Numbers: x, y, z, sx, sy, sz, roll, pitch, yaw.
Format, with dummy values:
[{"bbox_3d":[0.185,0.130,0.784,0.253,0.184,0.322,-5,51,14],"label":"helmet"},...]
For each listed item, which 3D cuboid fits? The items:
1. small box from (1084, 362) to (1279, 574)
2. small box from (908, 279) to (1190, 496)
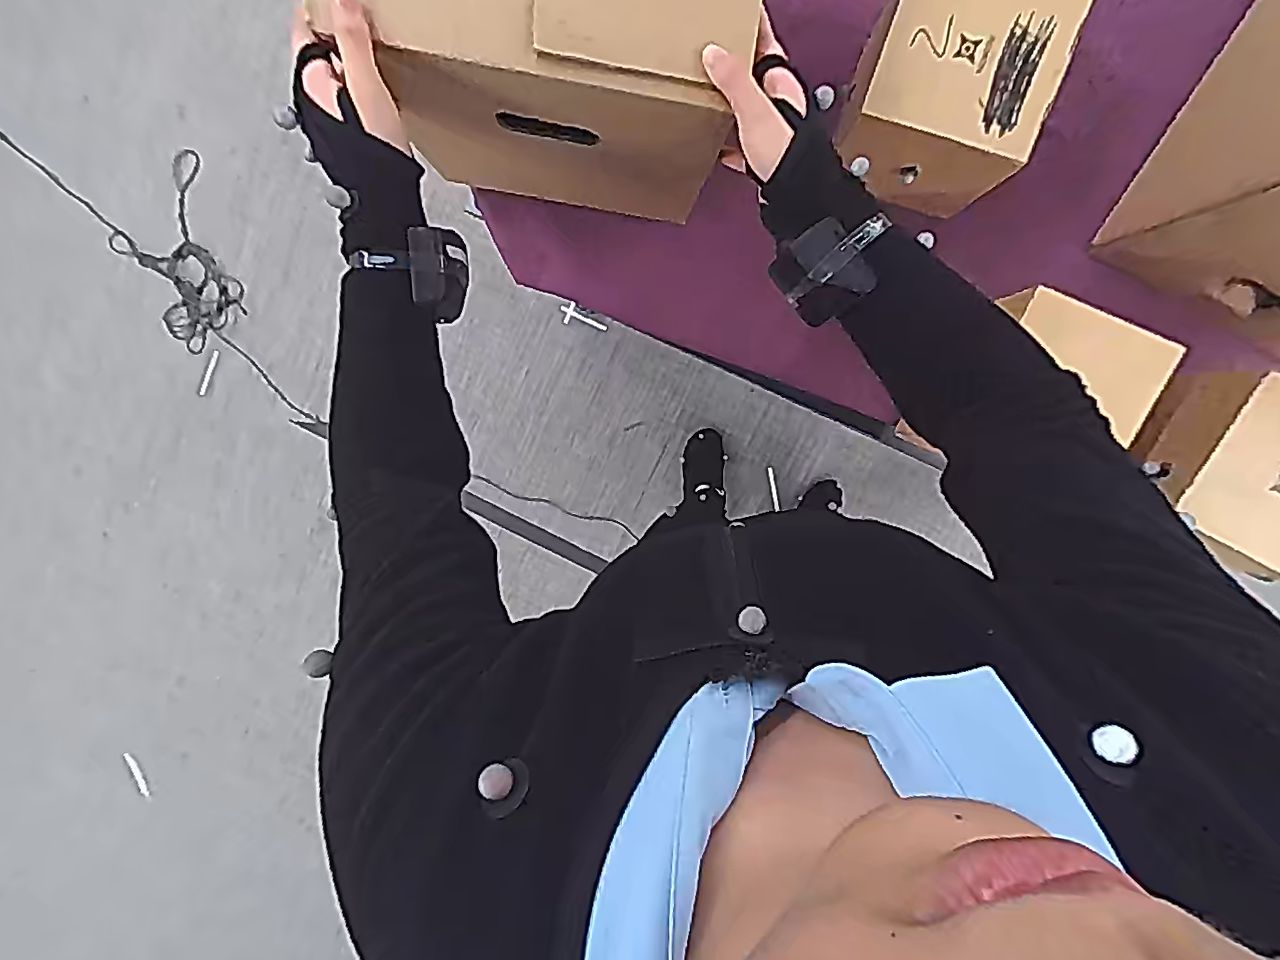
[{"bbox_3d":[0.670,-0.014,0.628,0.168,0.176,0.179,28,97,0],"label":"small box"},{"bbox_3d":[0.450,-0.104,0.633,0.168,0.176,0.179,24,99,1],"label":"small box"}]
